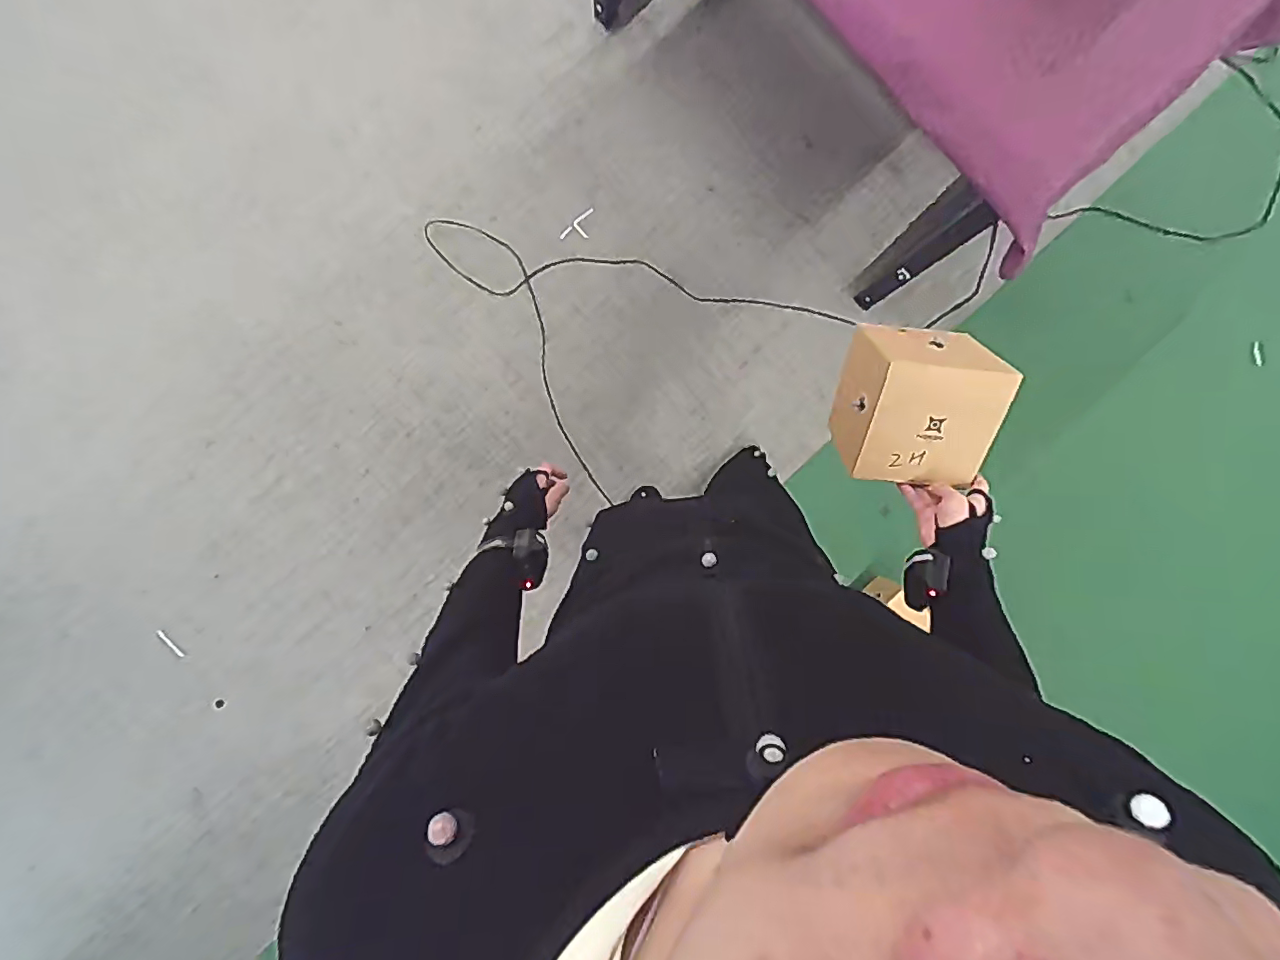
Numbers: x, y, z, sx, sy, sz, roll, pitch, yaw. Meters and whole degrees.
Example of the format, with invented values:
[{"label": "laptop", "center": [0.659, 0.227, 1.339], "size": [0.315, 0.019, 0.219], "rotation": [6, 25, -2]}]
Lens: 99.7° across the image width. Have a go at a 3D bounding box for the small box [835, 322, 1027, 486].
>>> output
[{"label": "small box", "center": [0.391, -0.115, 0.770], "size": [0.168, 0.176, 0.179], "rotation": [6, 123, 3]}]
